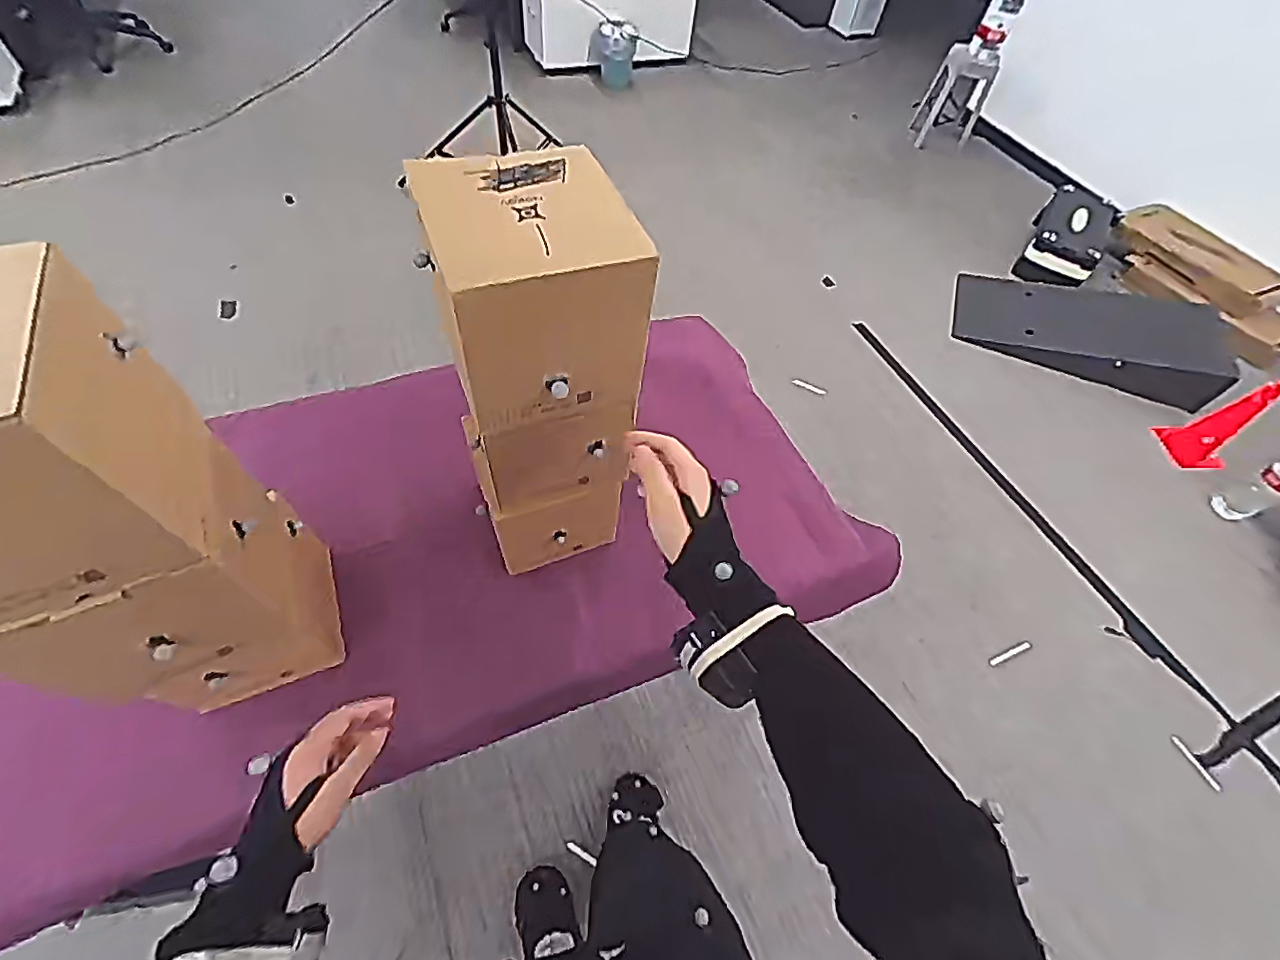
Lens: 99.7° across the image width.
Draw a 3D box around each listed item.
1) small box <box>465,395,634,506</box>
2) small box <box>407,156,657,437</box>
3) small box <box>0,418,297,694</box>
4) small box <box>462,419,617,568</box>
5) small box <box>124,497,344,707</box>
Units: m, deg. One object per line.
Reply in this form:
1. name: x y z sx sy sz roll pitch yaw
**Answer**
1. small box: -0.117 -0.087 0.649 0.168 0.176 0.179 -16 59 -17
2. small box: -0.101 -0.169 0.507 0.168 0.176 0.179 -17 61 -17
3. small box: -0.453 0.079 0.505 0.168 0.176 0.179 -23 62 -20
4. small box: -0.140 0.009 0.778 0.168 0.176 0.179 -17 60 -17
5. small box: -0.479 0.154 0.650 0.168 0.176 0.179 -18 60 -17
